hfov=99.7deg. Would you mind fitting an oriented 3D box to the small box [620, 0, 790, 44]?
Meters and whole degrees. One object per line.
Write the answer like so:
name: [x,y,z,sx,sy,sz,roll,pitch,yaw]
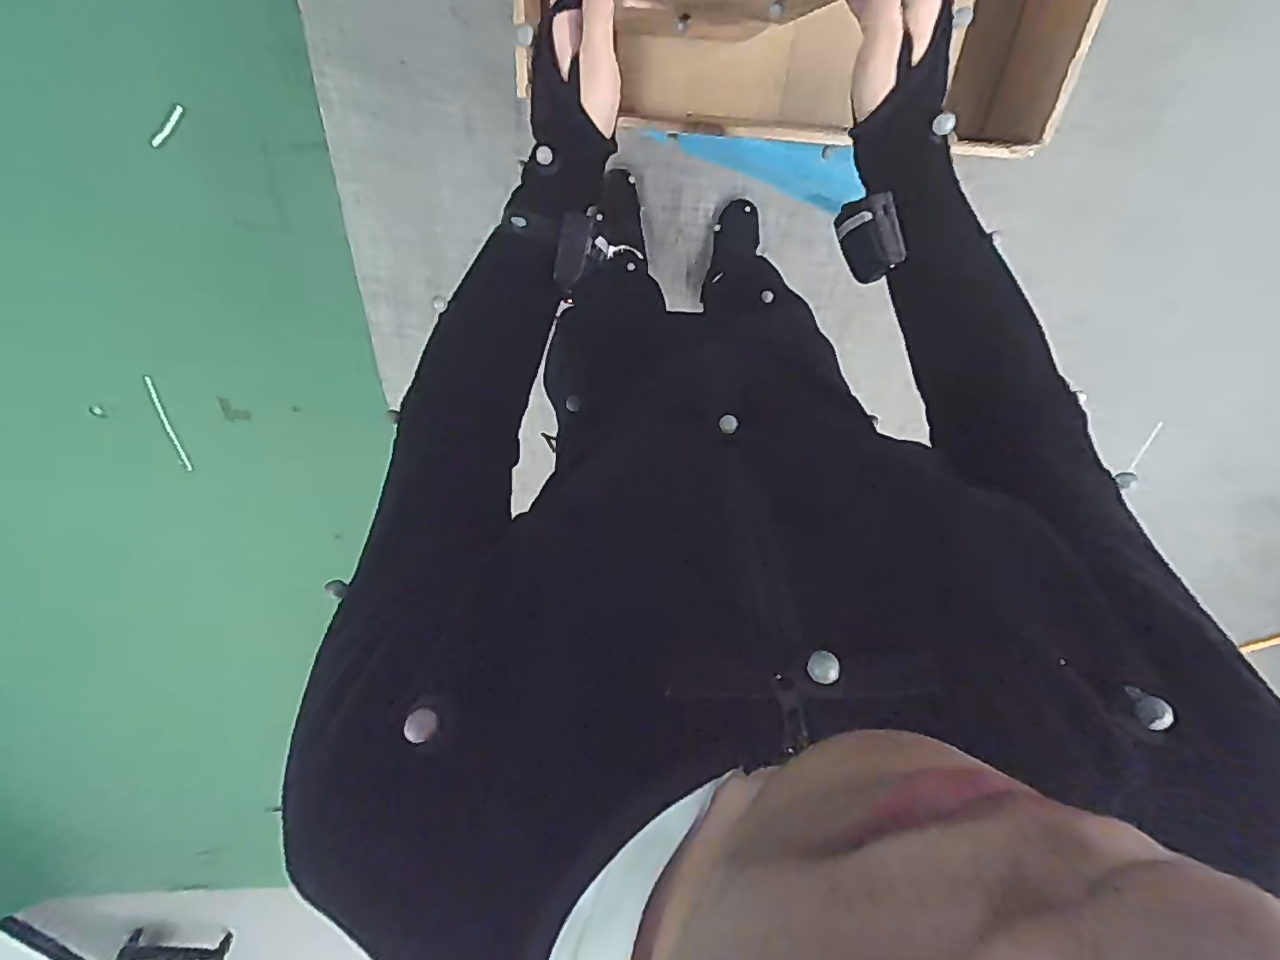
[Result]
small box: [0.065,-0.575,0.552,0.168,0.176,0.179,1,122,-4]
